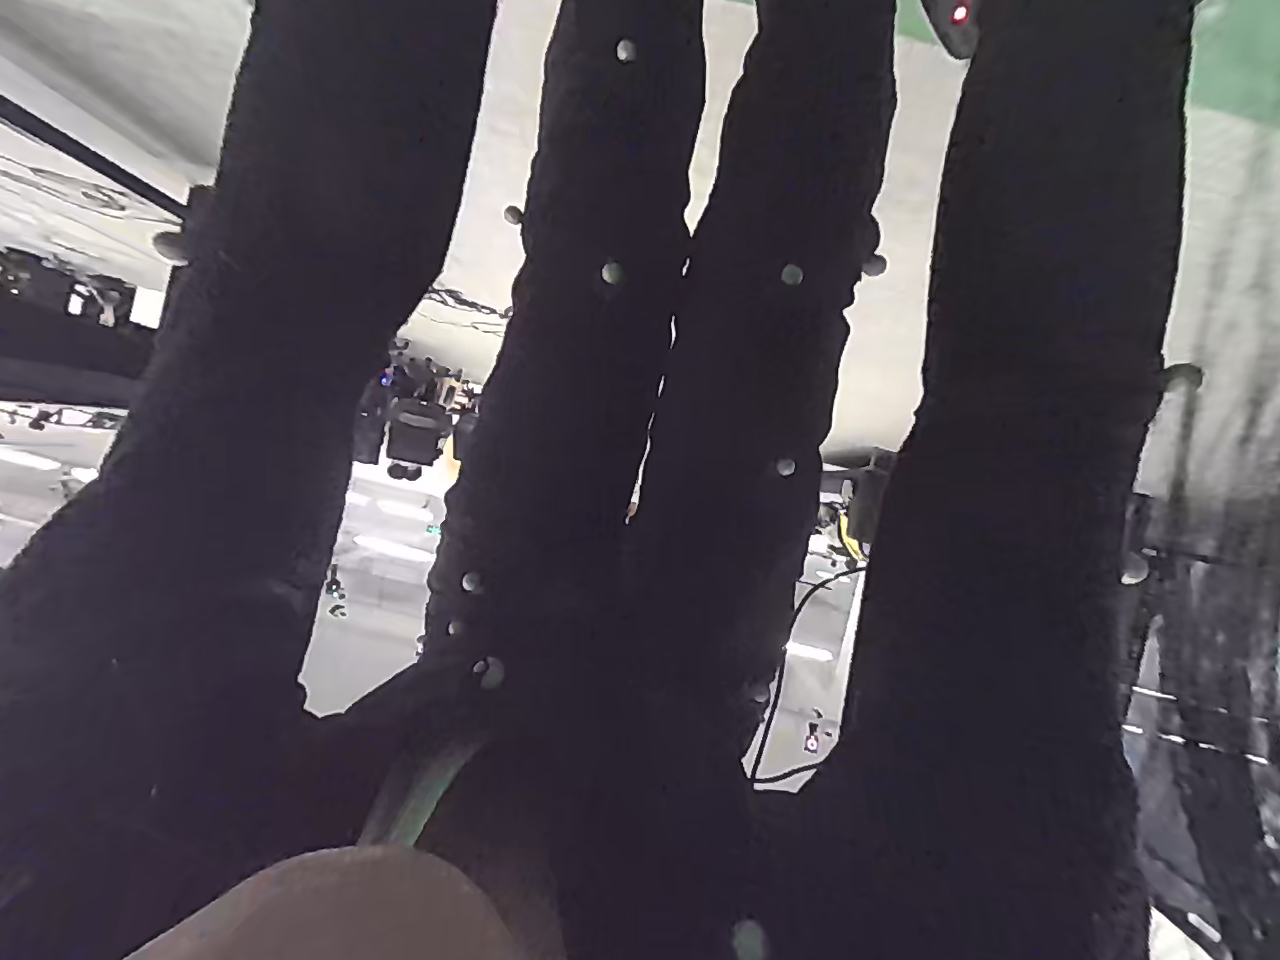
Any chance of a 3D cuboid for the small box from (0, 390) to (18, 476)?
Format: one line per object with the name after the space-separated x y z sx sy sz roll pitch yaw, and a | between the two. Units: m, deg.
-1.333 -0.109 1.002 0.179 0.176 0.168 15 -178 1 | small box
